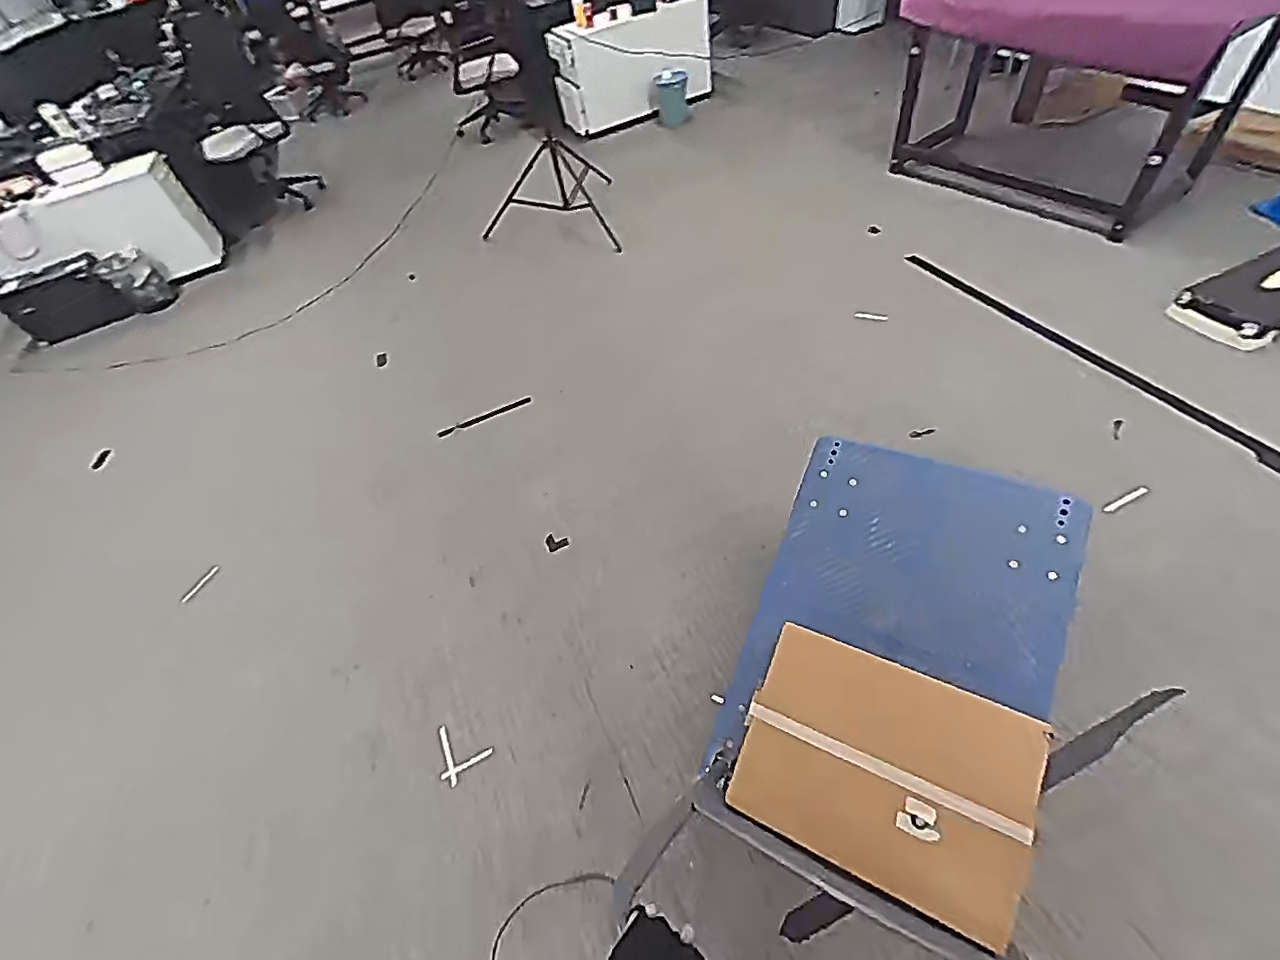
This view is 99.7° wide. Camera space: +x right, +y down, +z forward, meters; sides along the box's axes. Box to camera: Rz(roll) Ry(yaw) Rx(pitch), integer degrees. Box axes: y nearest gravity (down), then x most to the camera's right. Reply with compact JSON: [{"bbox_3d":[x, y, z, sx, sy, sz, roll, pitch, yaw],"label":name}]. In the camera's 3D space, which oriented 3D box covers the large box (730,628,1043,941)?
[{"bbox_3d":[0.415,0.501,0.985,0.408,0.320,0.320,17,76,22],"label":"large box"}]
